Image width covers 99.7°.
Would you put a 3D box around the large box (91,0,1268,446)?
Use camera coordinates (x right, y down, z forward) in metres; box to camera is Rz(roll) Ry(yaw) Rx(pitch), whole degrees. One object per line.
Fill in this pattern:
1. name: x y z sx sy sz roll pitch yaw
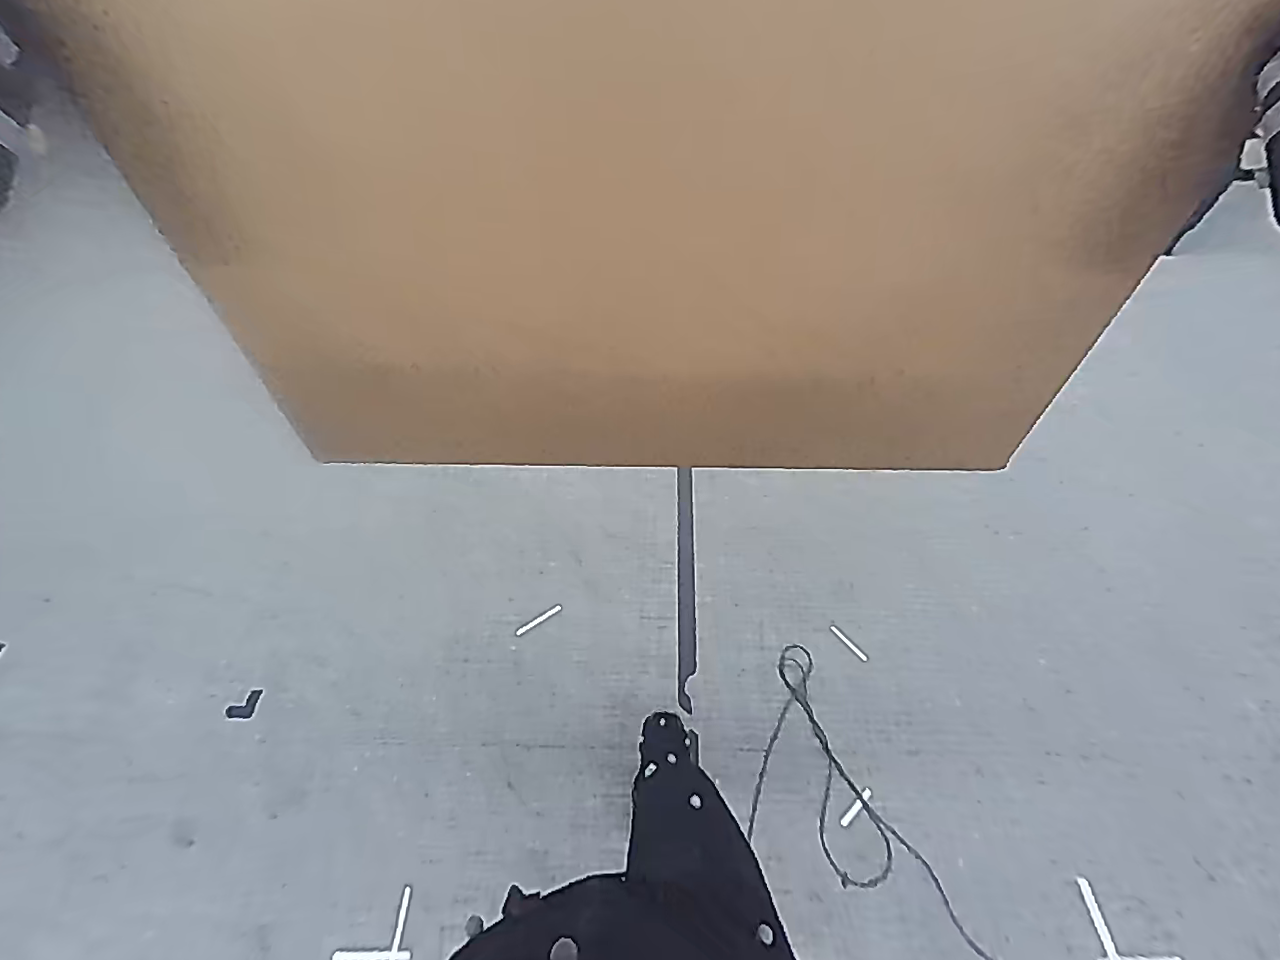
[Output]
1. large box: 0.012 -0.231 0.320 0.408 0.320 0.320 1 49 0
